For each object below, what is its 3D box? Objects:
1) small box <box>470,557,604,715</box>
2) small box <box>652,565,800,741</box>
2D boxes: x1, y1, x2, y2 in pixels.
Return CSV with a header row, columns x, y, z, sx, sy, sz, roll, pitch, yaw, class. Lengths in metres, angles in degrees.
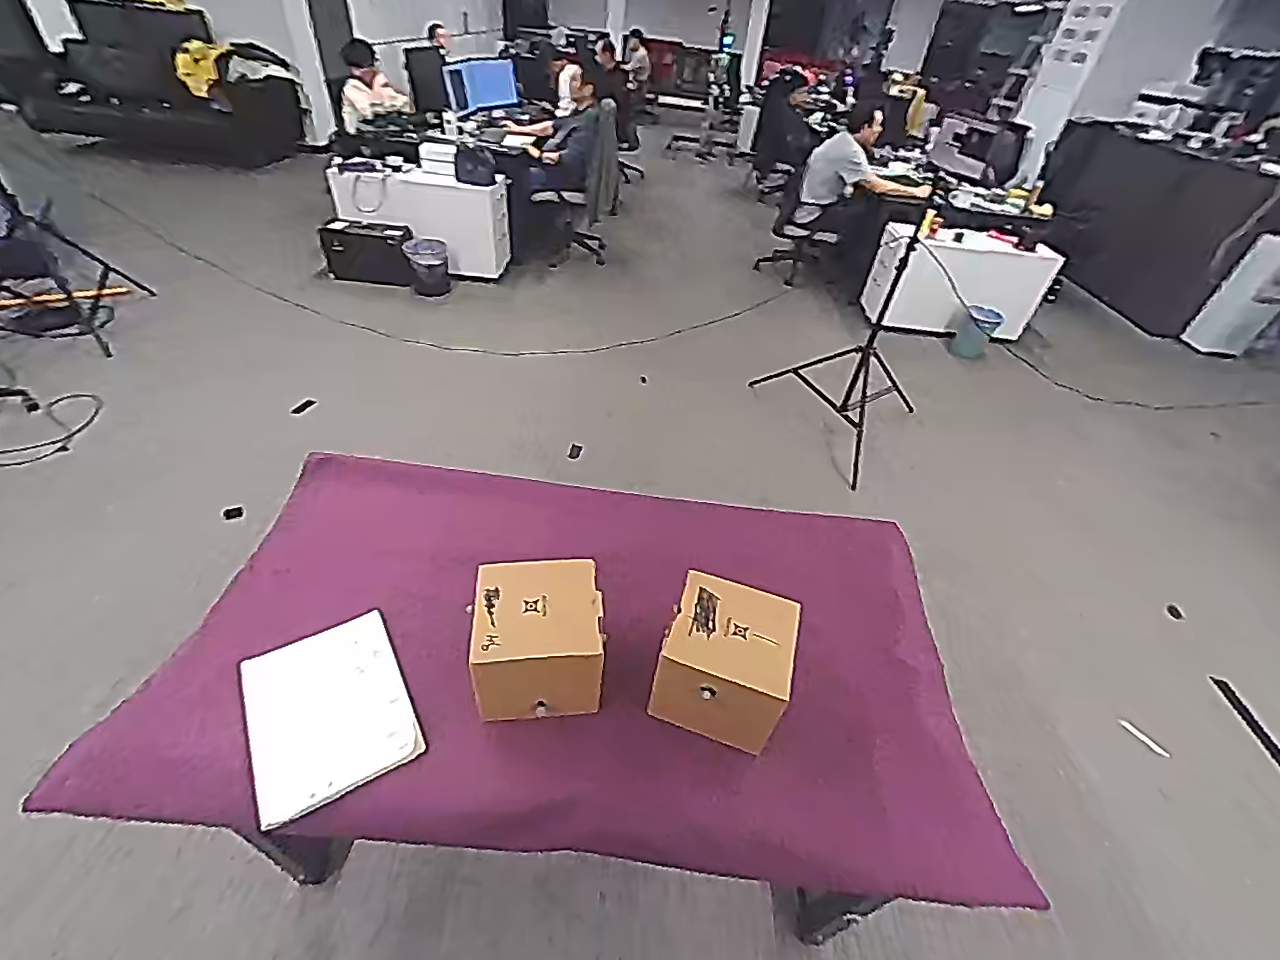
x,y,z,sx,sy,sz,roll,pitch,yaw,class
-0.152,0.235,0.817,0.179,0.176,0.168,-1,41,-10,small box
0.126,0.263,0.819,0.179,0.176,0.168,16,41,11,small box
